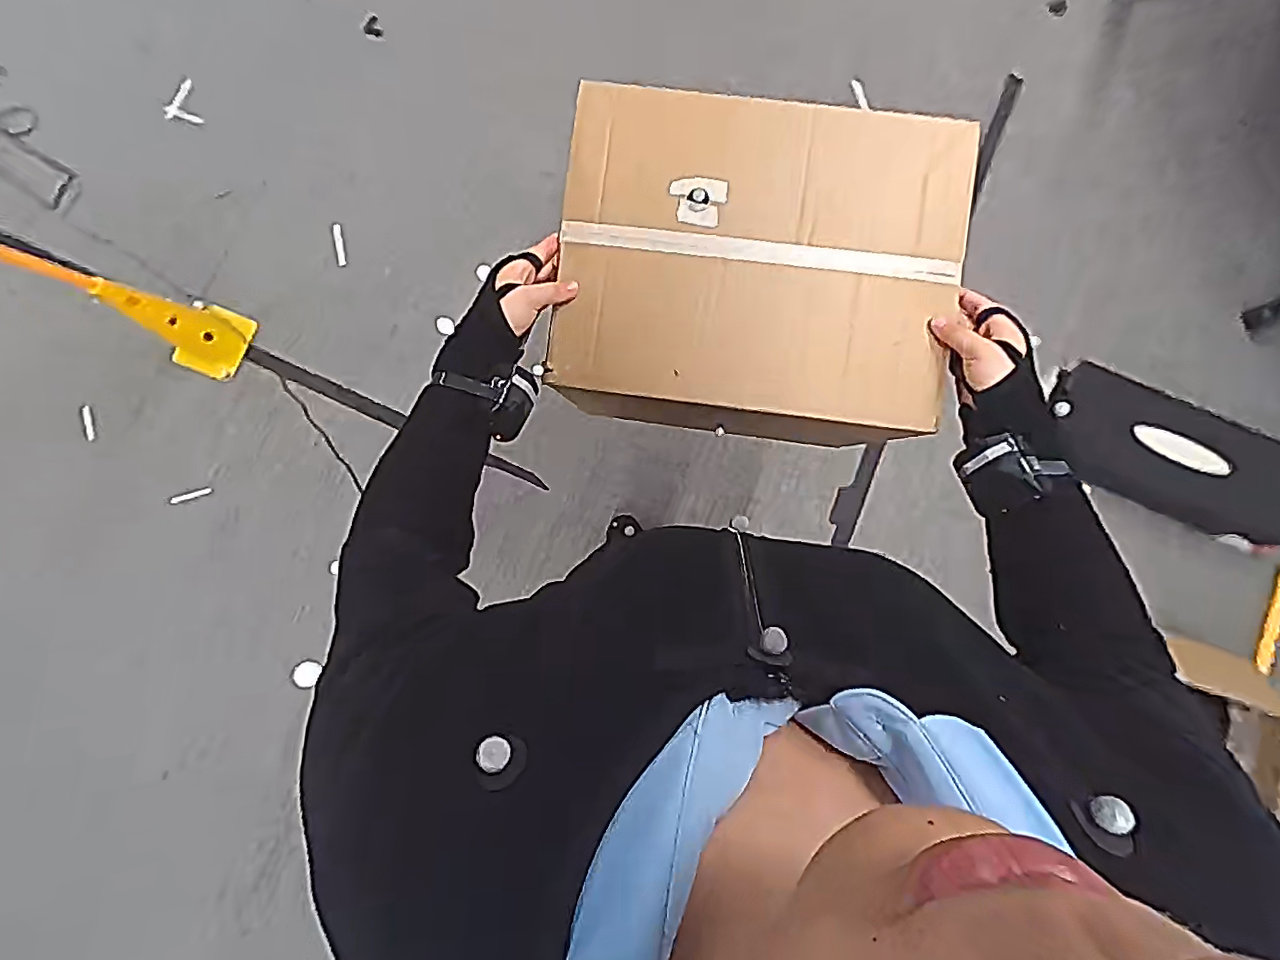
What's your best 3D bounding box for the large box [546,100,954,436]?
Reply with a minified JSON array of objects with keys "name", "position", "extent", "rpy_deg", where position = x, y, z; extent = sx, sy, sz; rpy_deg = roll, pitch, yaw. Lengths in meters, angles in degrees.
[{"name":"large box","position":[0.119,-0.233,0.710],"extent":[0.408,0.320,0.320],"rpy_deg":[6,90,3]}]
